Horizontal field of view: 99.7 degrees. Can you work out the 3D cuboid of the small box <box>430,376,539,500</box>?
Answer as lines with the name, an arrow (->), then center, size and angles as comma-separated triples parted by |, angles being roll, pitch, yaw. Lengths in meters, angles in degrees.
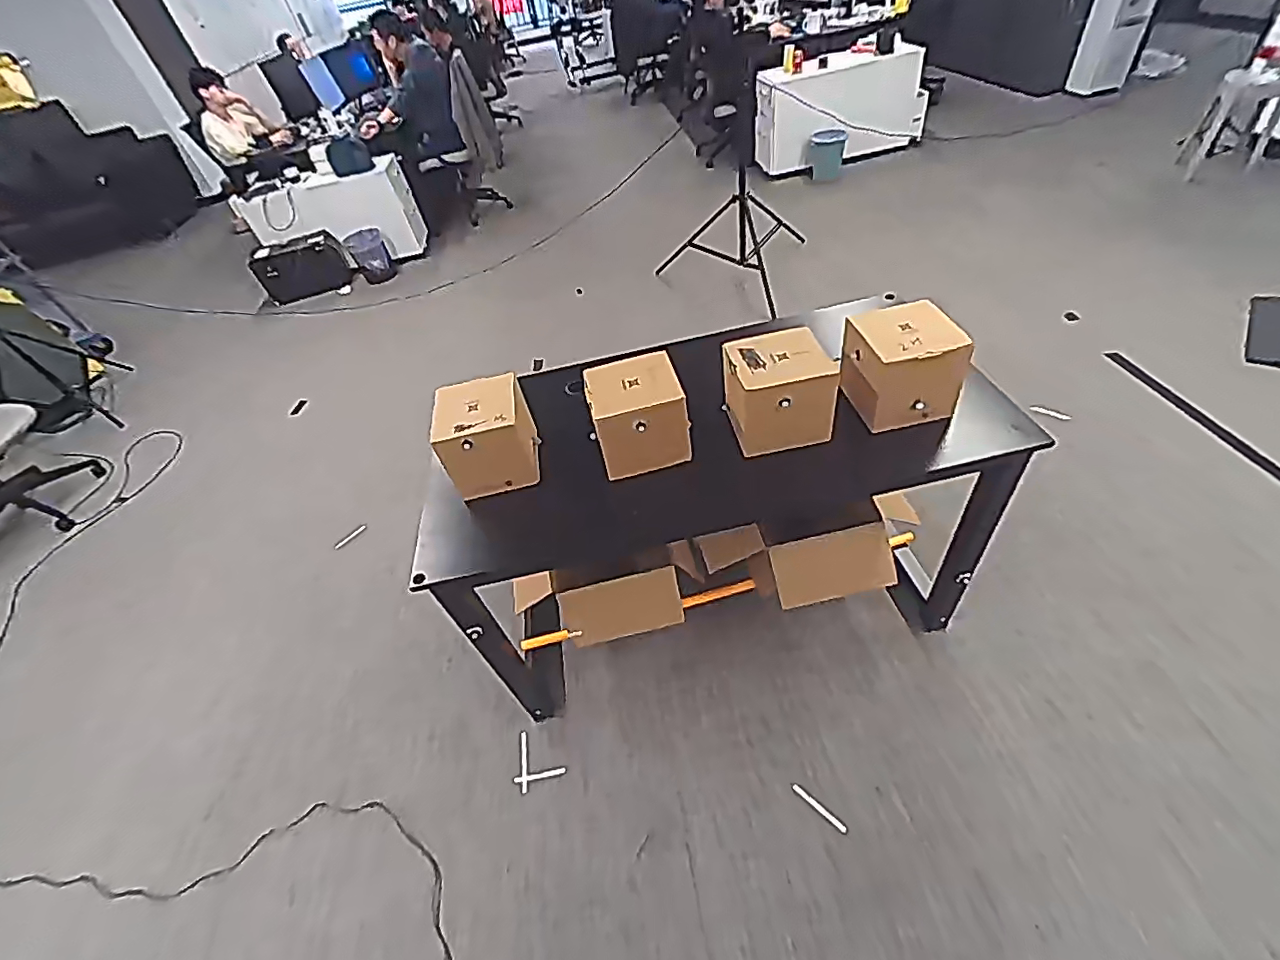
small box -> -0.313, -0.085, 1.119 | 0.168, 0.176, 0.179 | -13, 45, -1

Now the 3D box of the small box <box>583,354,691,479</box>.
small box -> -0.005, -0.124, 1.092 | 0.179, 0.176, 0.168 | -14, 46, -2

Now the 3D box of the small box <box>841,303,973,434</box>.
small box -> 0.511, -0.219, 1.066 | 0.168, 0.176, 0.179 | -12, 45, 2

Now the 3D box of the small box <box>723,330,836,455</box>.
small box -> 0.271, -0.168, 1.071 | 0.179, 0.176, 0.168 | -11, 45, 2
